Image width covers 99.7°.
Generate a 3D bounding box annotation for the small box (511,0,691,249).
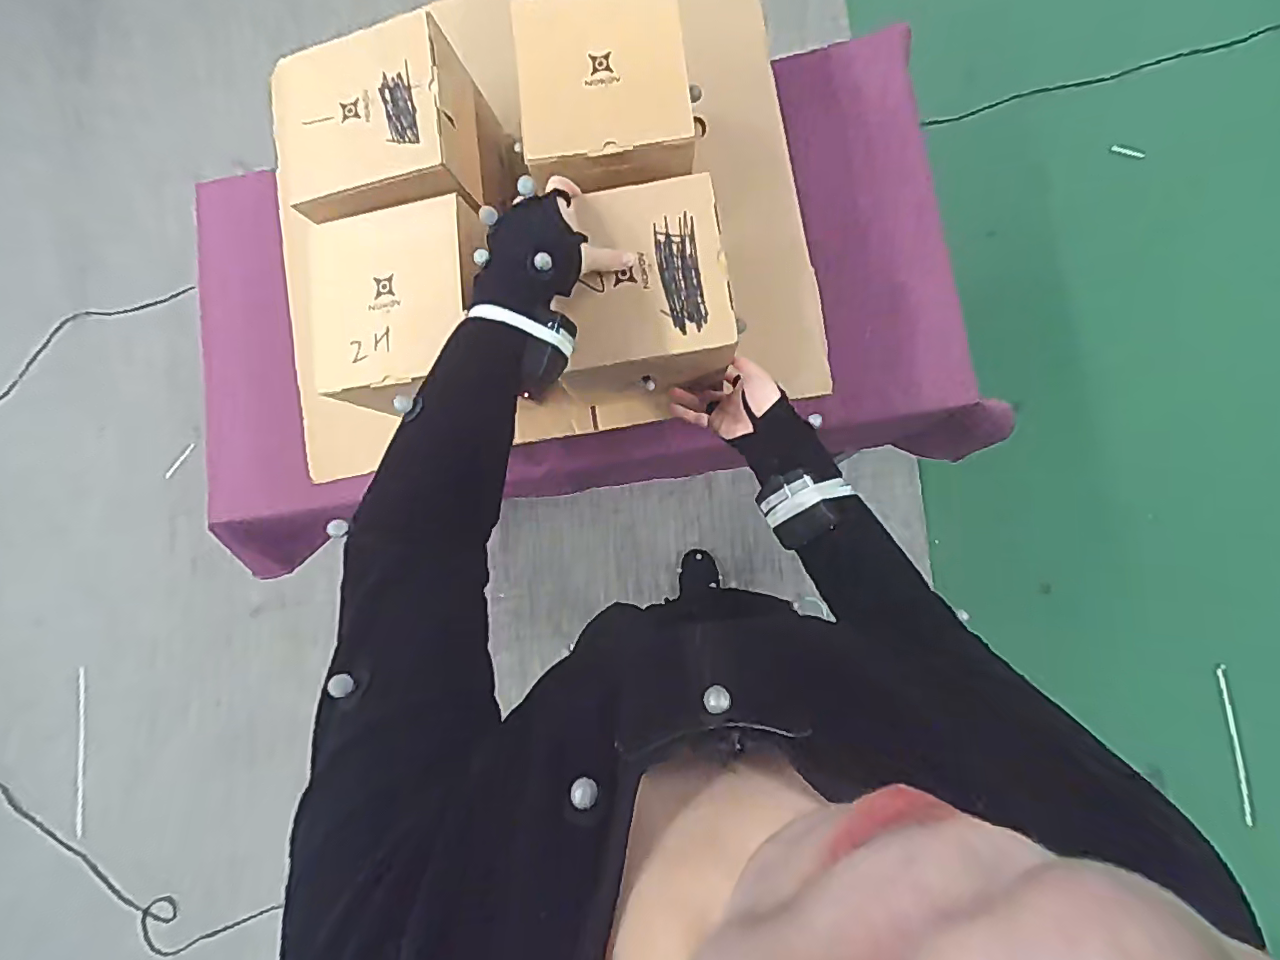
[{"bbox_3d":[-0.038,-0.392,0.611,0.168,0.176,0.179,-7,86,2],"label":"small box"}]
